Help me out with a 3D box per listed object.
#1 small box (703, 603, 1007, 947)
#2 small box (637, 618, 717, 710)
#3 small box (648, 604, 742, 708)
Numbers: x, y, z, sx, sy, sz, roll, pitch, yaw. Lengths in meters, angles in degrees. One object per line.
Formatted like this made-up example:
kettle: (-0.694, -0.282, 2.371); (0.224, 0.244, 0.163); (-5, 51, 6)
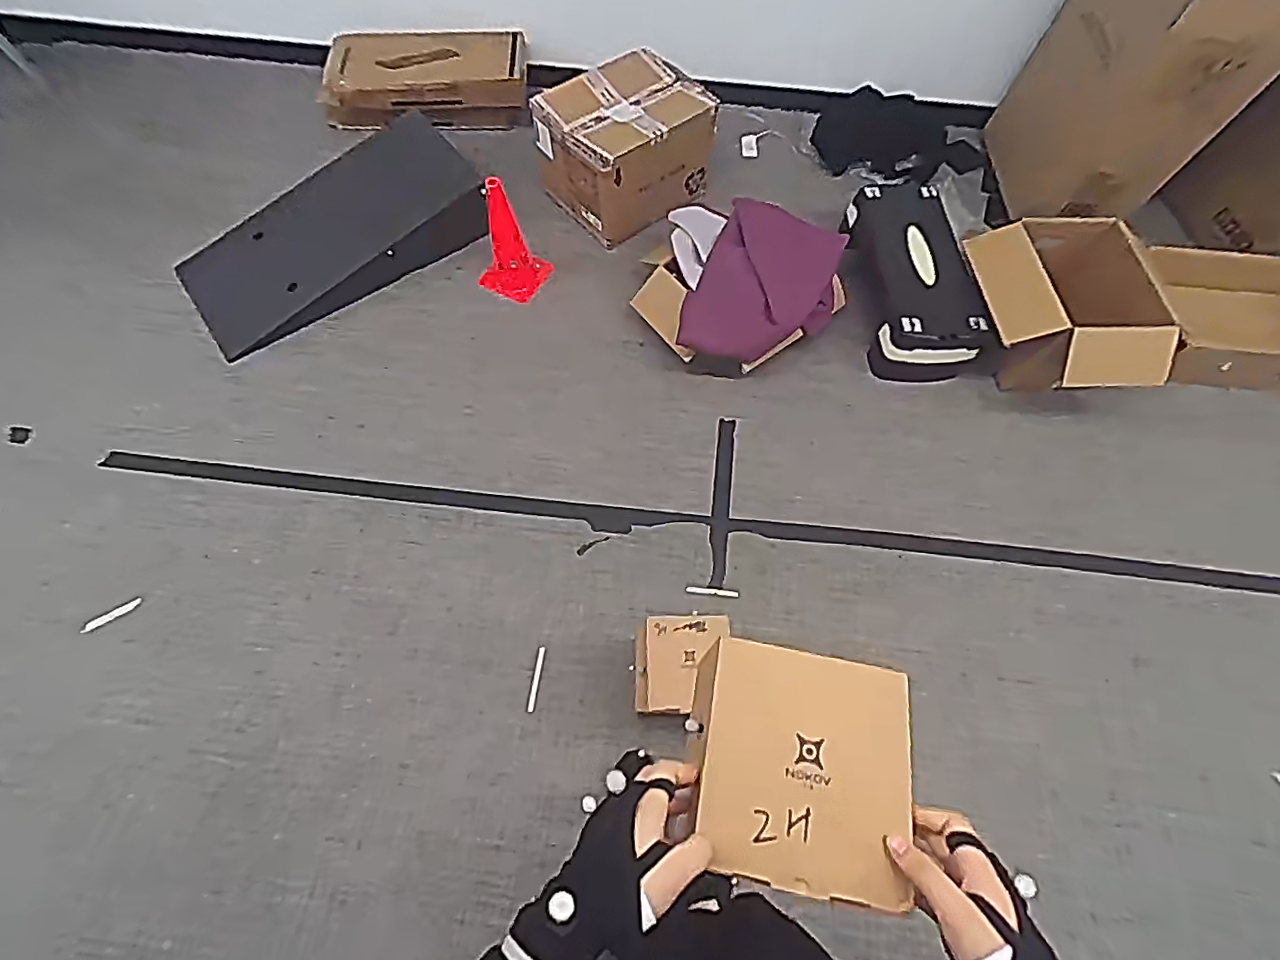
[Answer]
small box: (0.149, 0.219, 0.430); (0.168, 0.176, 0.179); (11, 63, 4)
small box: (0.078, 0.404, 1.180); (0.168, 0.176, 0.179); (1, 67, -1)
small box: (0.101, 0.339, 1.030); (0.168, 0.176, 0.179); (0, 66, -1)
